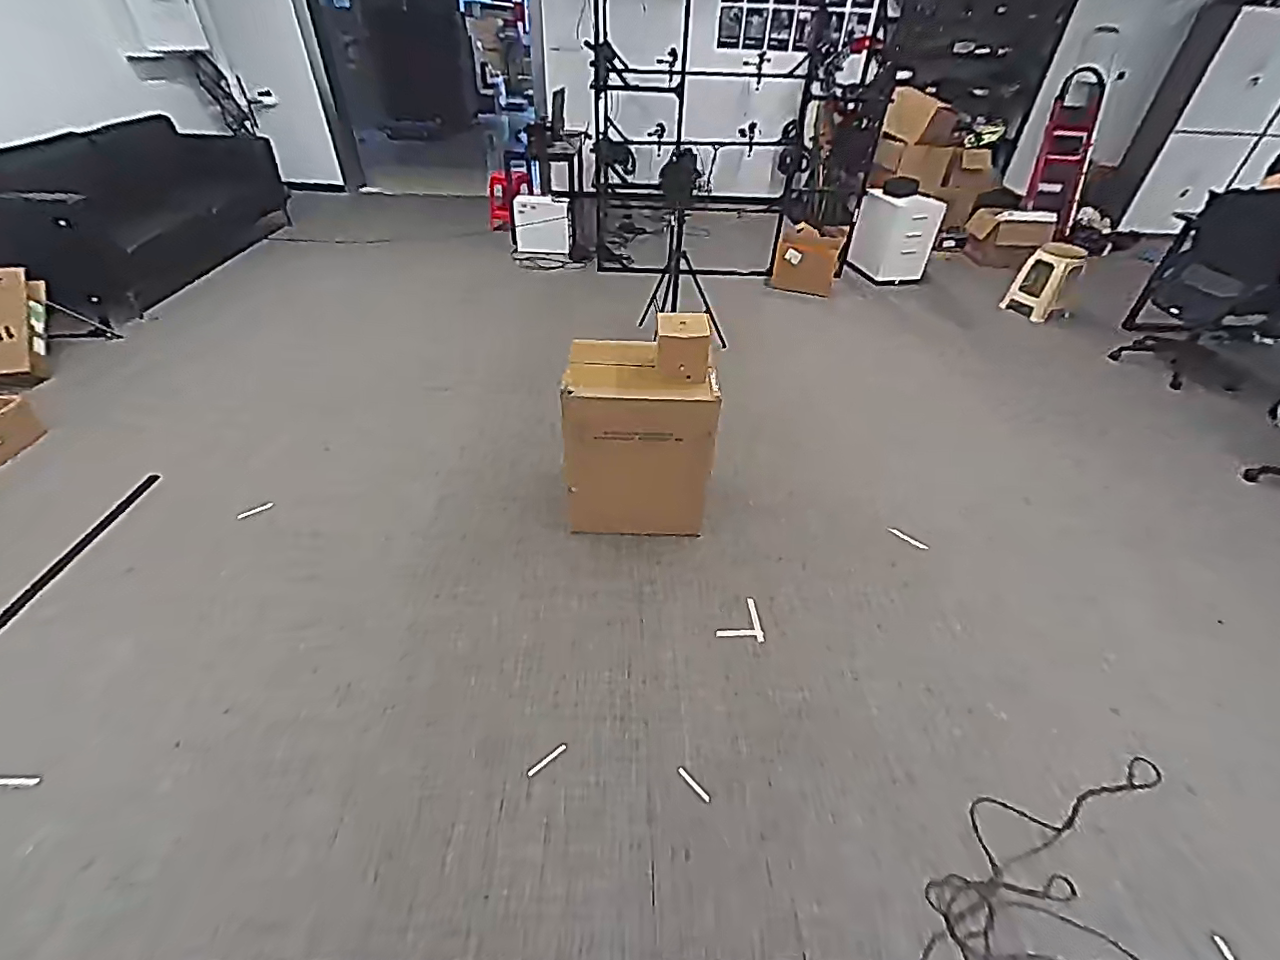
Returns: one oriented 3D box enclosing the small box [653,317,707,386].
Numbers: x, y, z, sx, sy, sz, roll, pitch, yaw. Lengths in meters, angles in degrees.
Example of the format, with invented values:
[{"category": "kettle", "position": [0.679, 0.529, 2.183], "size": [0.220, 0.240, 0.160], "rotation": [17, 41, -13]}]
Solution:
[{"category": "small box", "position": [0.130, -0.435, 1.826], "size": [0.168, 0.176, 0.179], "rotation": [0, 41, -1]}]
